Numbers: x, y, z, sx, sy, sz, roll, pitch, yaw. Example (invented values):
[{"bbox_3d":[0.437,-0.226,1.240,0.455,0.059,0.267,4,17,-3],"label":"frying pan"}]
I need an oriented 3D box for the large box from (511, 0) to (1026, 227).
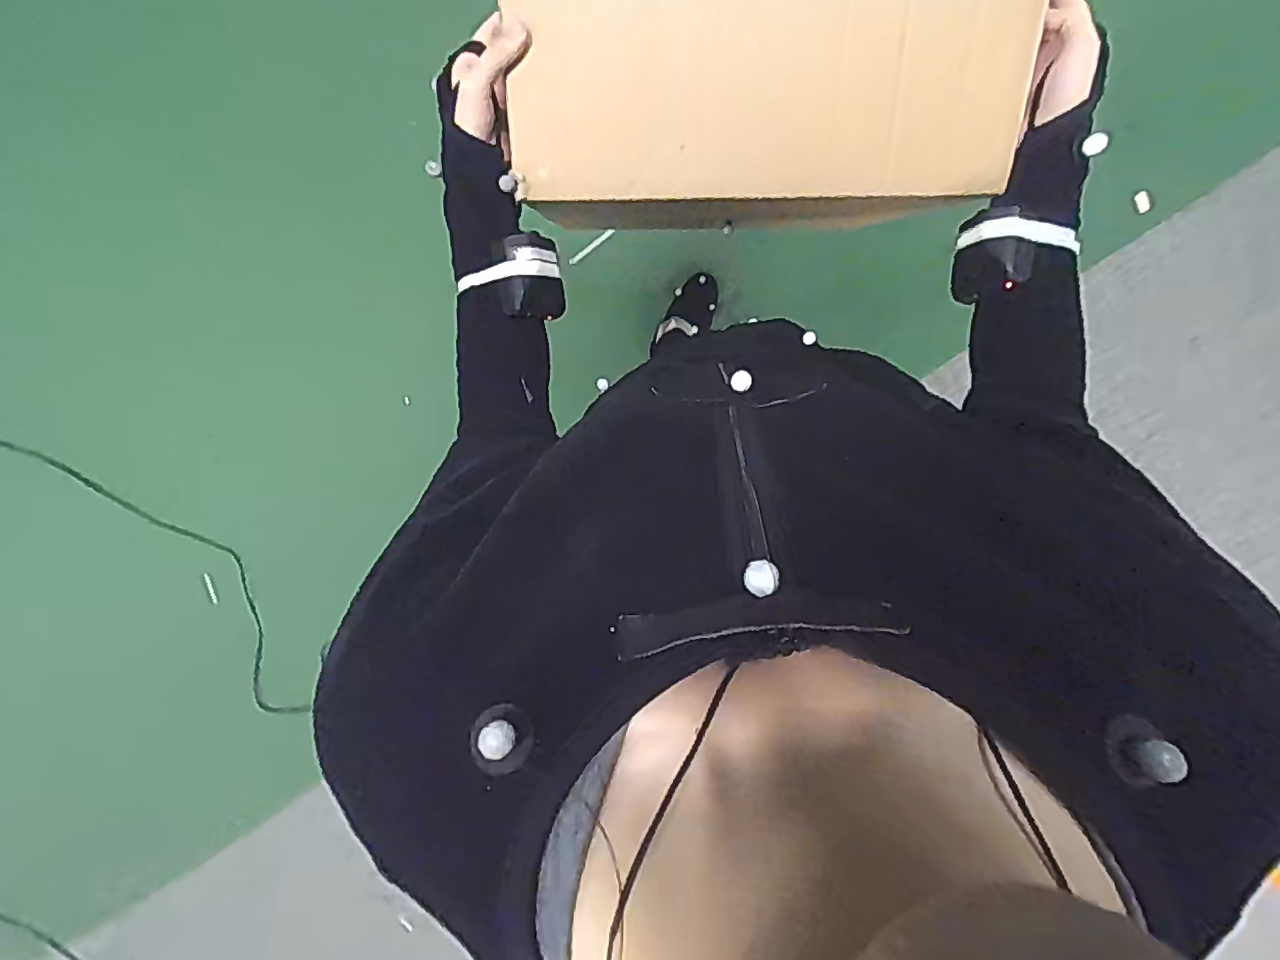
[{"bbox_3d":[0.101,-0.436,0.546,0.408,0.320,0.320,0,110,0],"label":"large box"}]
